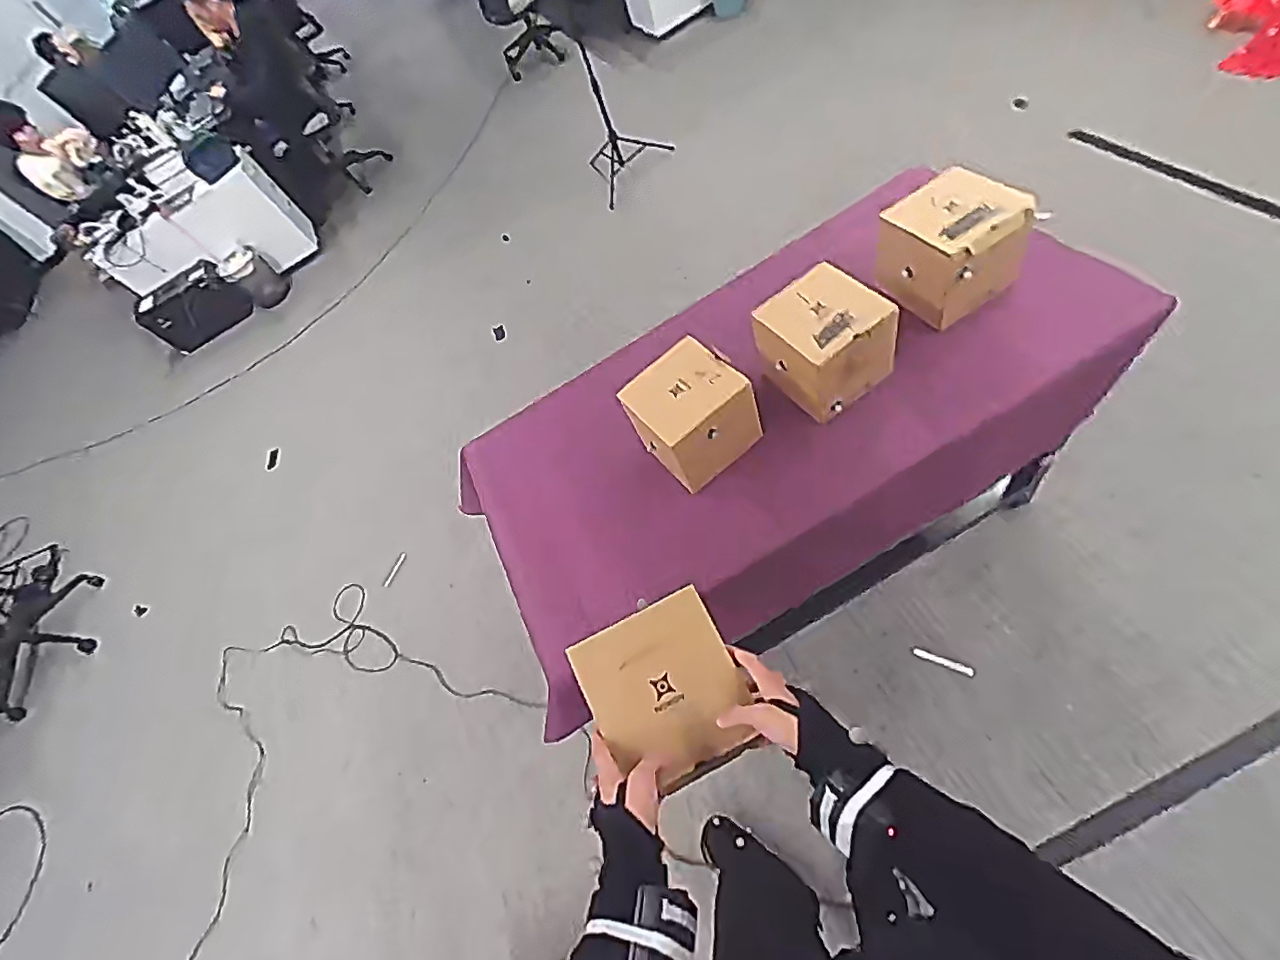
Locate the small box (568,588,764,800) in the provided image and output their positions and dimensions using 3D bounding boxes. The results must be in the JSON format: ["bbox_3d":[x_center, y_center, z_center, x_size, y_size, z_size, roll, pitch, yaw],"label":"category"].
[{"bbox_3d":[0.030,0.250,0.673,0.168,0.176,0.179,-26,76,-5],"label":"small box"}]

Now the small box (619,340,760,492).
[{"bbox_3d":[0.097,-0.110,0.982,0.179,0.176,0.168,-39,56,-5],"label":"small box"}]

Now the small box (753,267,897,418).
[{"bbox_3d":[0.330,-0.237,0.969,0.168,0.176,0.179,-35,54,-2],"label":"small box"}]
